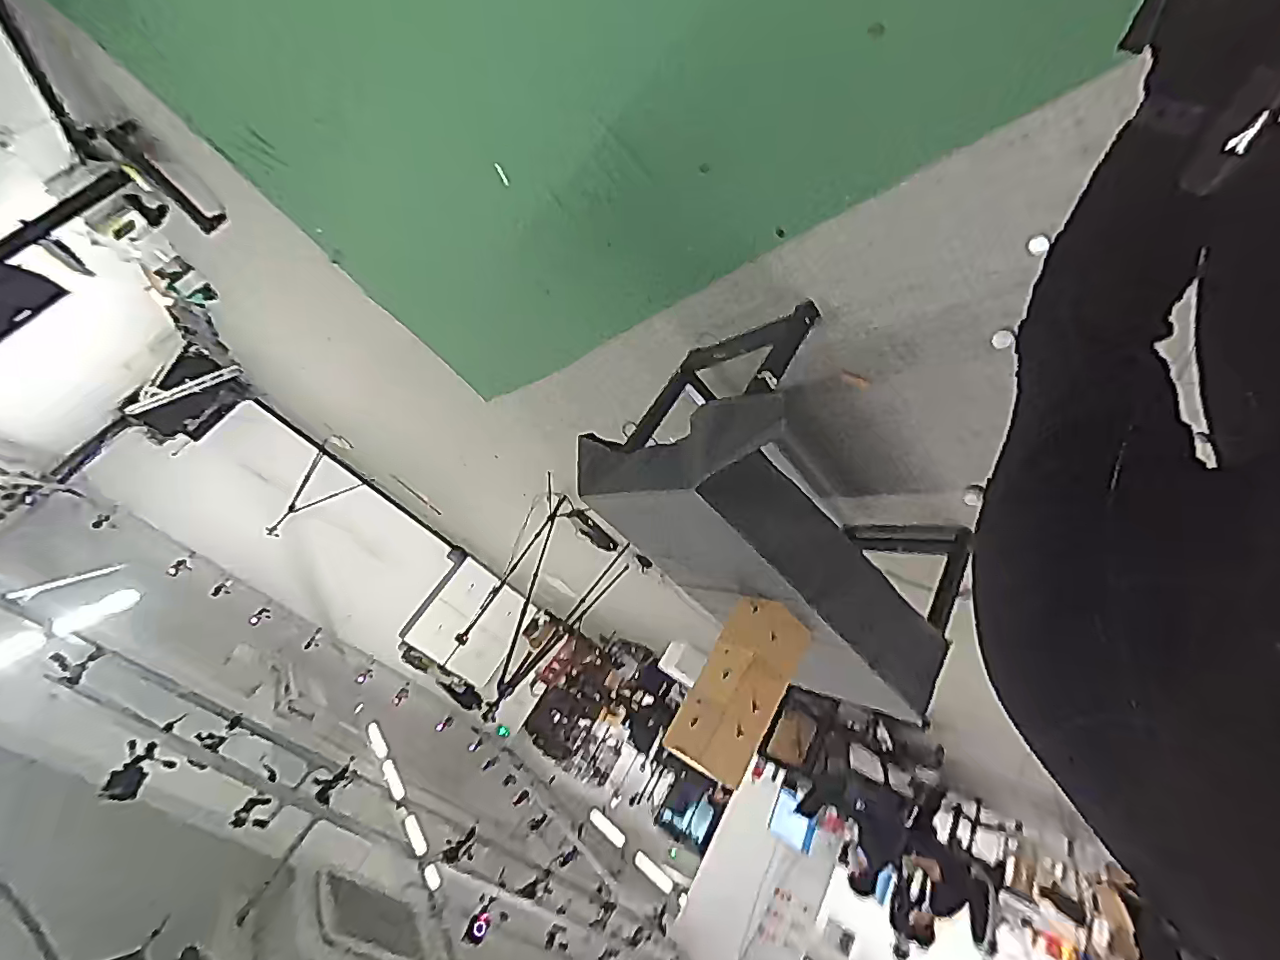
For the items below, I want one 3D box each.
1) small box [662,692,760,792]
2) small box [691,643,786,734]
[{"bbox_3d":[0.201,0.724,1.514,0.179,0.176,0.168,46,154,-23],"label":"small box"},{"bbox_3d":[0.289,0.598,1.573,0.179,0.176,0.168,44,155,-22],"label":"small box"}]
